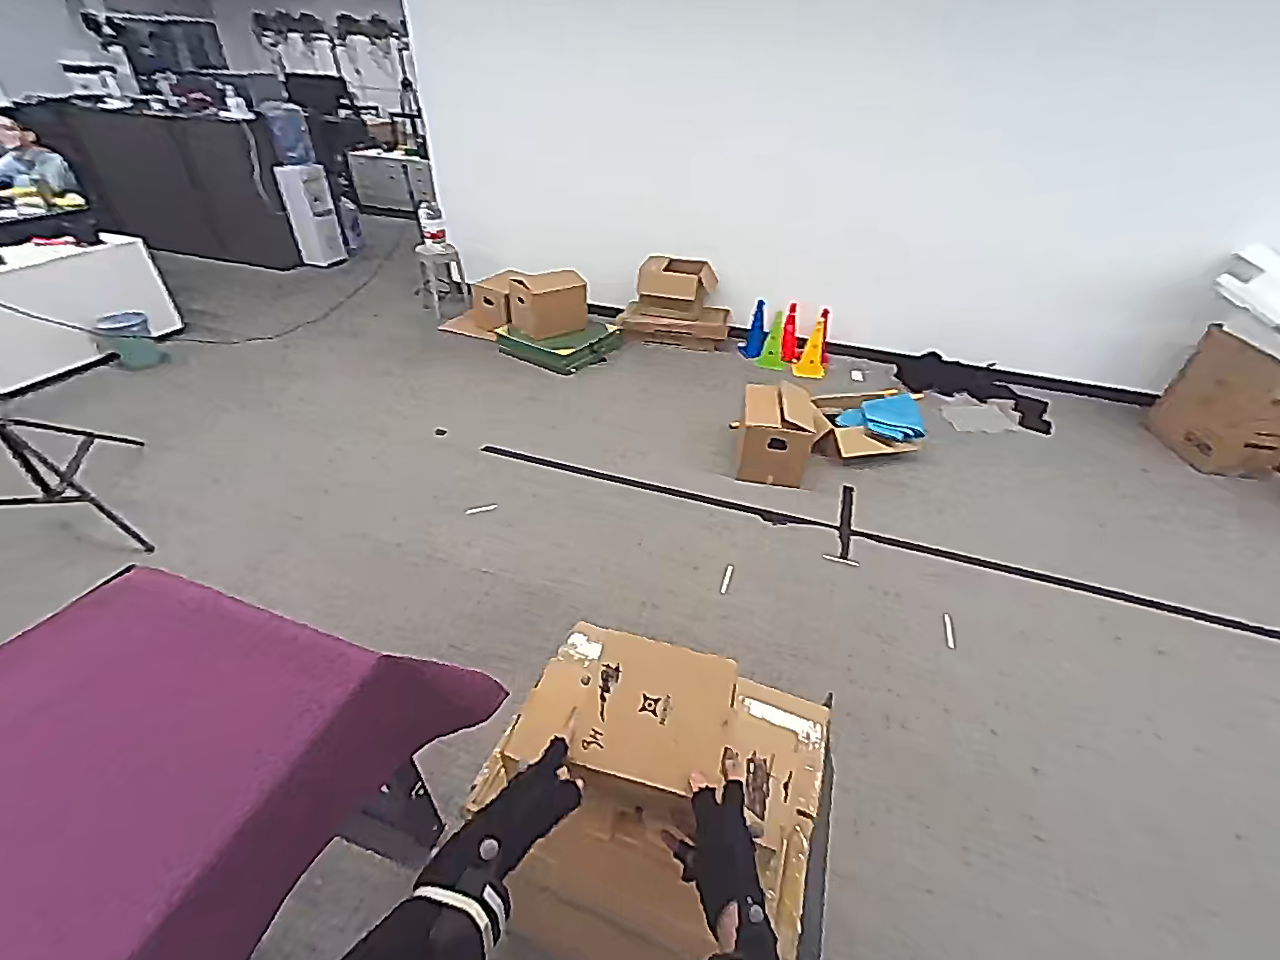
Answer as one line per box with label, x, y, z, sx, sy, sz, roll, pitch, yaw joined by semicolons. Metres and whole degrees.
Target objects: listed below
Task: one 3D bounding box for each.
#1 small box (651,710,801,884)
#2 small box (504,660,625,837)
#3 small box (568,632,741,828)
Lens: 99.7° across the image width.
small box;0.125;0.460;0.805;0.179;0.176;0.168;14;39;18
small box;-0.090;0.420;0.847;0.179;0.176;0.168;15;40;13
small box;0.021;0.324;0.694;0.179;0.176;0.168;11;48;9
